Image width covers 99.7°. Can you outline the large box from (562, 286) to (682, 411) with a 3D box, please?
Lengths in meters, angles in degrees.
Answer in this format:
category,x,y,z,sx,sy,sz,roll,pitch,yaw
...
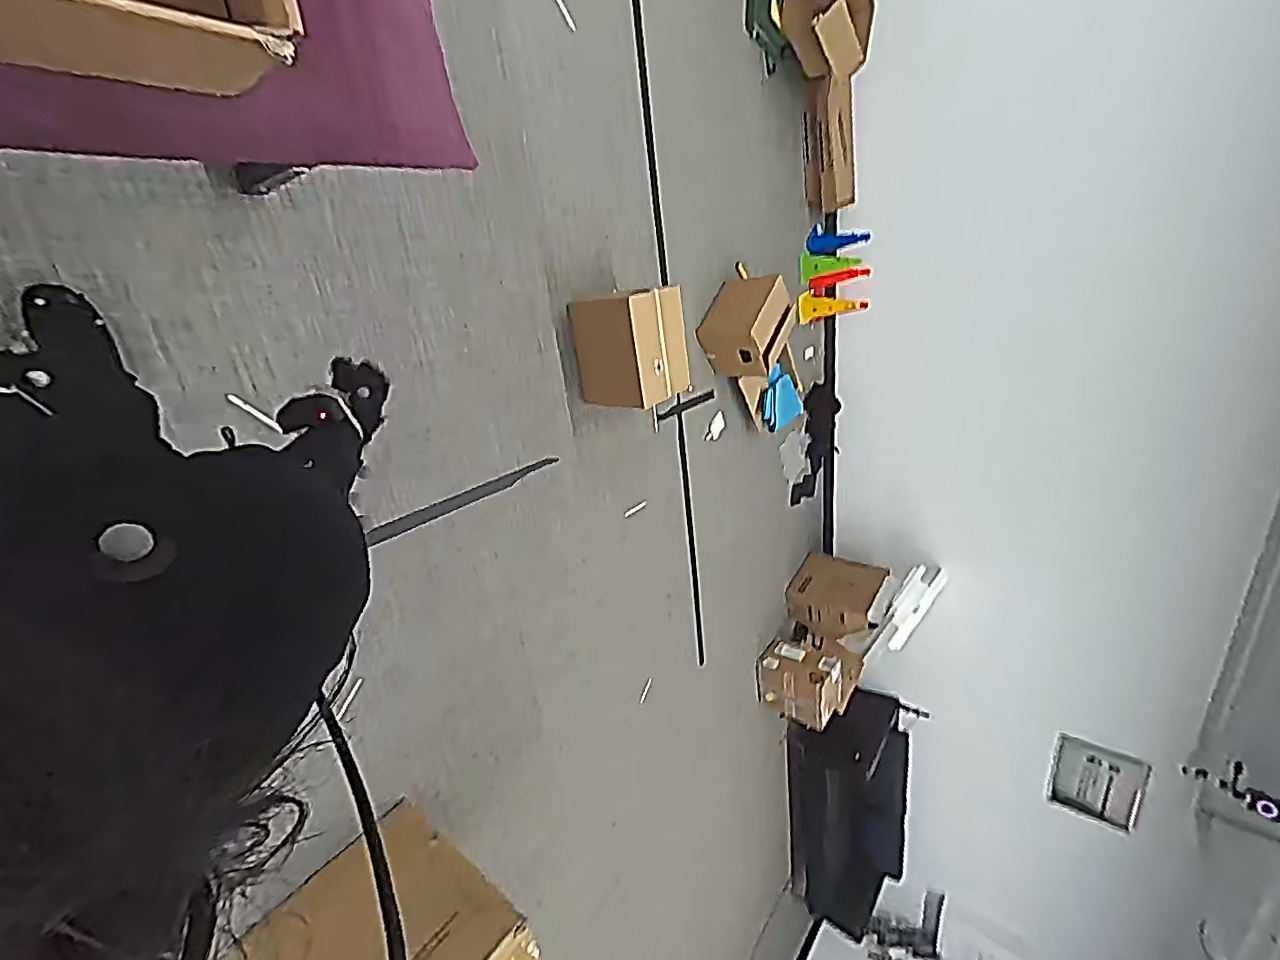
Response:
category,x,y,z,sx,sy,sz,roll,pitch,yaw
large box,-0.062,-0.517,2.106,0.320,0.320,0.408,-32,124,-43
